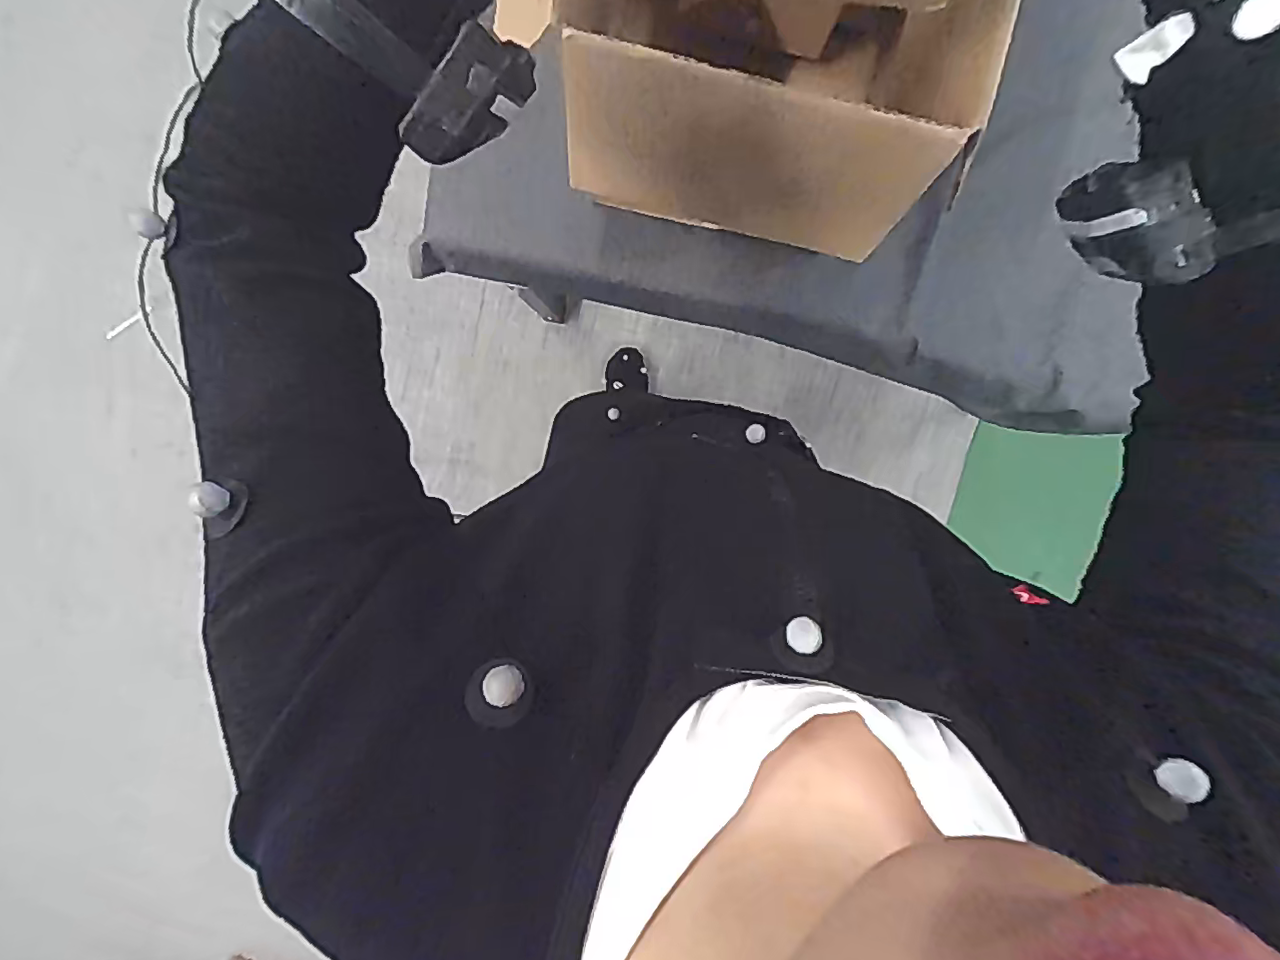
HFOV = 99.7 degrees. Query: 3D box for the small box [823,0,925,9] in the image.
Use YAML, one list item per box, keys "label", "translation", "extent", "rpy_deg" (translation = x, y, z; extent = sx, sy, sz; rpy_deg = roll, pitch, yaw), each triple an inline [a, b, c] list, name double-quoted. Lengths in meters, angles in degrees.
- label: "small box"
  translation: [0.121, -0.385, 0.271]
  extent: [0.179, 0.176, 0.168]
  rpy_deg: [7, 103, -1]
